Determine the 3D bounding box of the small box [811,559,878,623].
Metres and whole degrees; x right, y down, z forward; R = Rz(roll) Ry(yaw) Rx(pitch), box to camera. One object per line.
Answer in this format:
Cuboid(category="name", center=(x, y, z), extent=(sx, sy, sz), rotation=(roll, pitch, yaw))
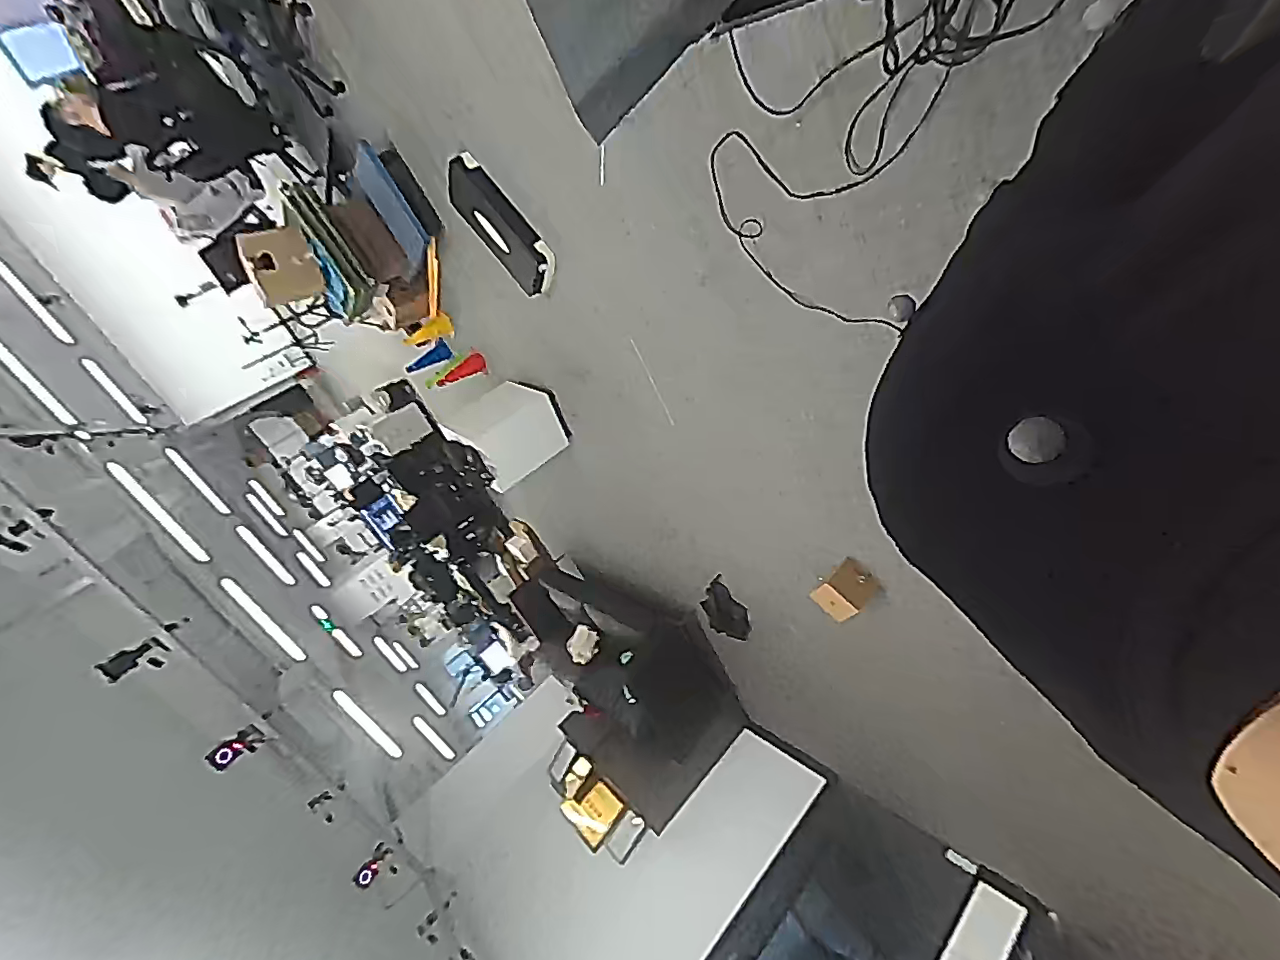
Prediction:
Cuboid(category="small box", center=(0.848, 0.460, 2.240), extent=(0.168, 0.176, 0.179), rotation=(42, 153, 15))
